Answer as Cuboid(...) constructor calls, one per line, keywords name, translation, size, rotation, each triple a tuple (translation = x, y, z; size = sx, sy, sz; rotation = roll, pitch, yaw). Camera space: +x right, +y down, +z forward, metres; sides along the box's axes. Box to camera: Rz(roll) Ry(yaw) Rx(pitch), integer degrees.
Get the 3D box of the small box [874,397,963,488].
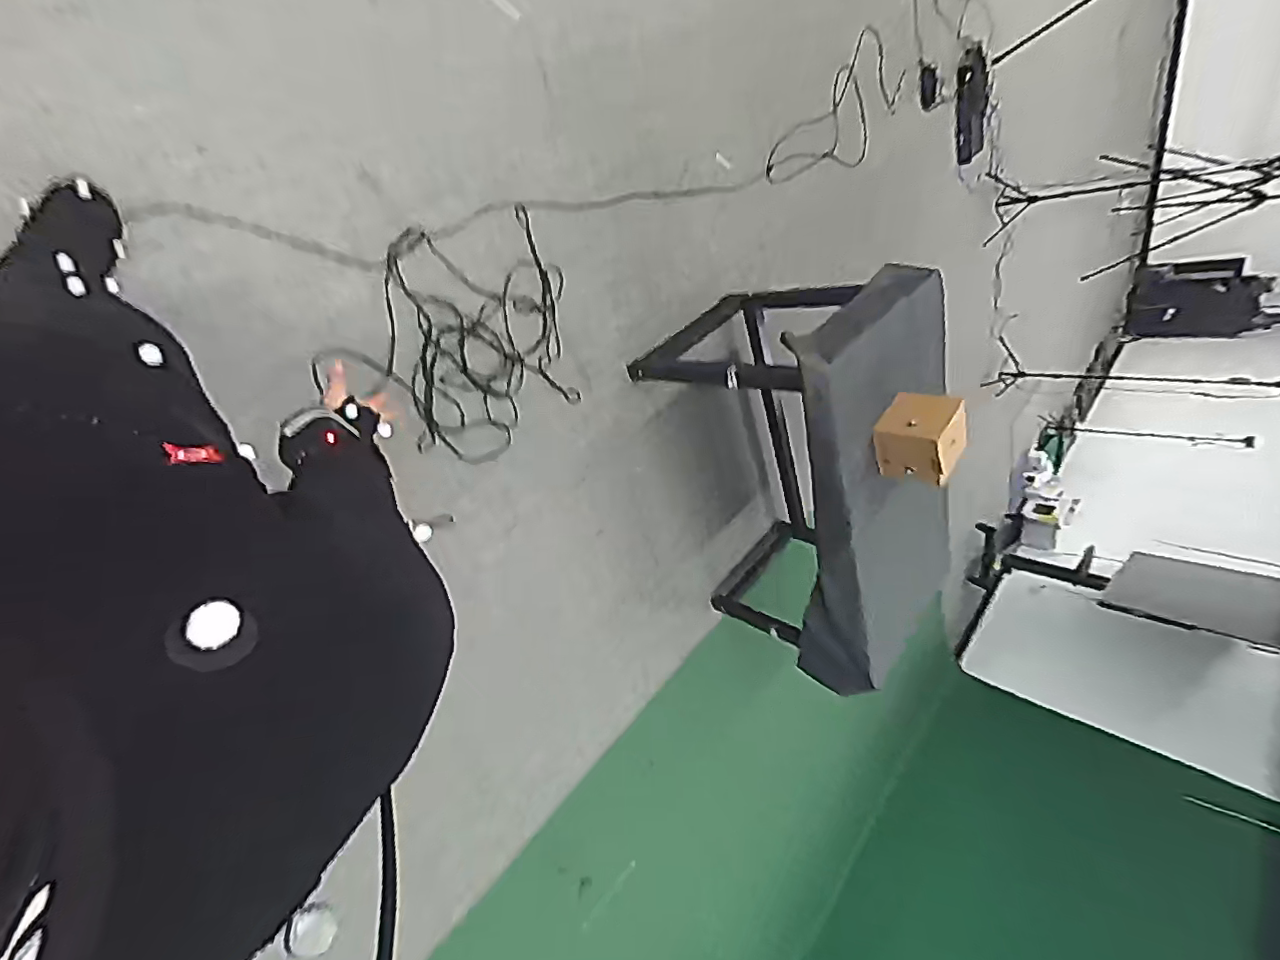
Cuboid(name="small box", translation=(0.745, -0.107, 1.456), size=(0.179, 0.176, 0.168), rotation=(-49, 131, -25))
